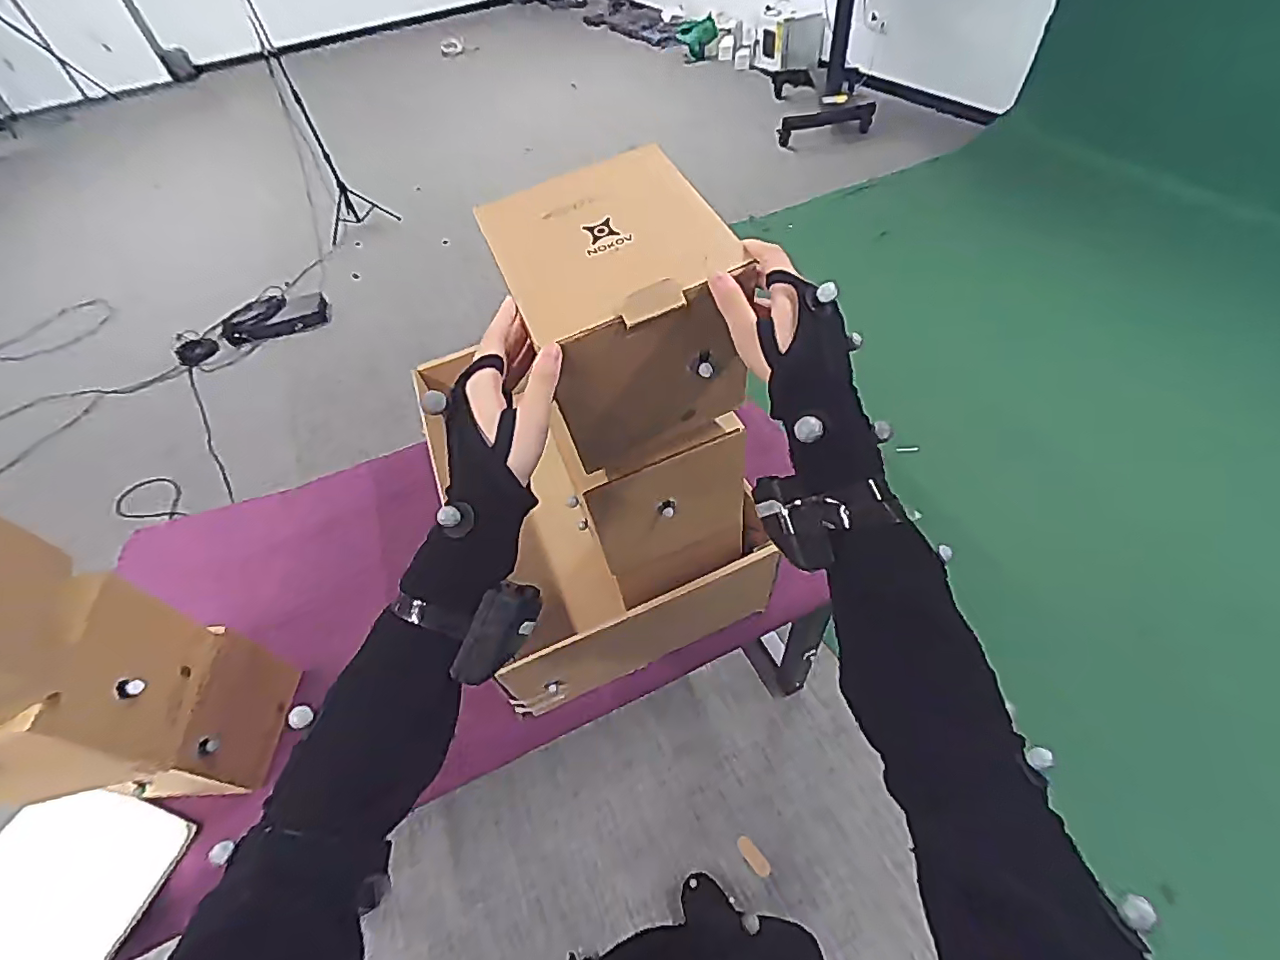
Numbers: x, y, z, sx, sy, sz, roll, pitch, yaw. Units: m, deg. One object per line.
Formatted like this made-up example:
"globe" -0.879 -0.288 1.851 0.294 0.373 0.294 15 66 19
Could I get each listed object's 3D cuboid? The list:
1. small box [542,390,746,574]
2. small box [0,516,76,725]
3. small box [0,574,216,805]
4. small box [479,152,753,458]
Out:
"small box" 0.007 -0.021 0.631 0.179 0.176 0.168 -22 51 -7
"small box" -0.634 0.123 0.450 0.168 0.176 0.179 -30 54 -16
"small box" -0.611 0.226 0.576 0.179 0.176 0.168 -13 50 -2
"small box" -0.016 -0.141 0.478 0.168 0.176 0.179 -23 60 -7
